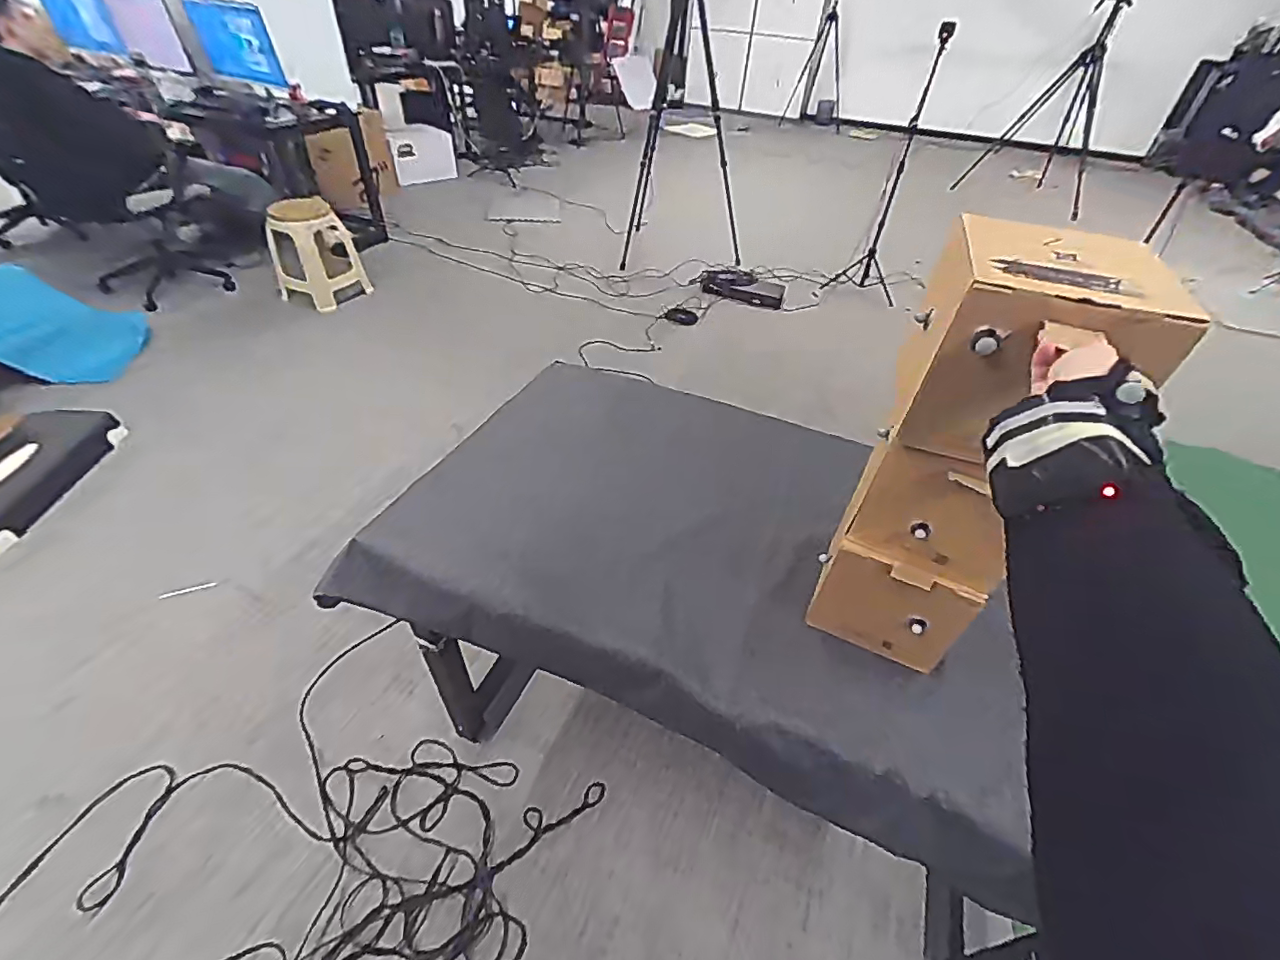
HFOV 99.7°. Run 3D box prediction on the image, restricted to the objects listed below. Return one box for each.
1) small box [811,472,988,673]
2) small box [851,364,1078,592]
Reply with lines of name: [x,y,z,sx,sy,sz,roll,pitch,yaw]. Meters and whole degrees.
small box: [0.346,0.125,0.733,0.168,0.176,0.179,21,43,17]
small box: [0.366,-0.004,0.635,0.168,0.176,0.179,22,45,17]
